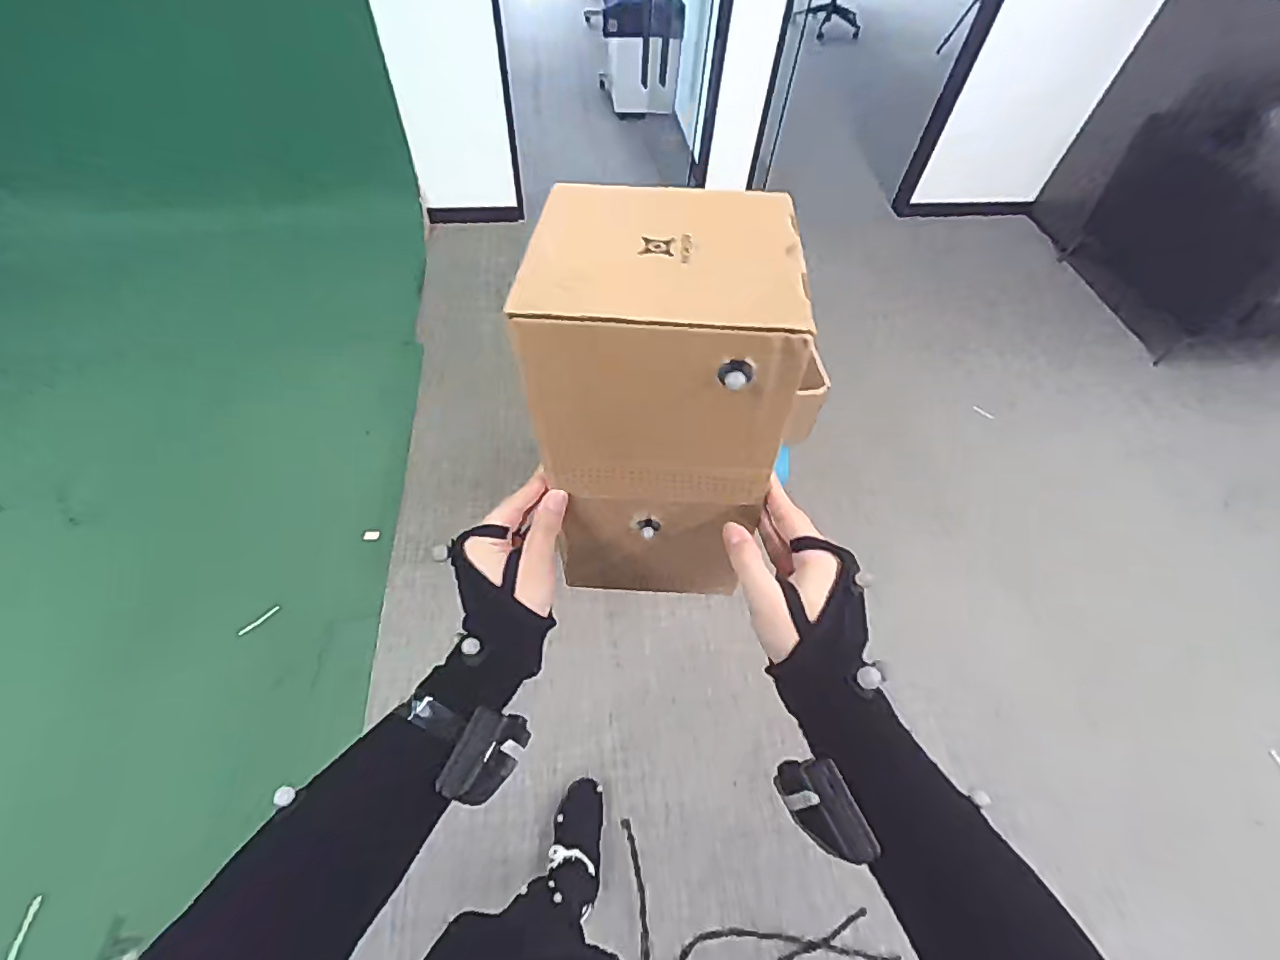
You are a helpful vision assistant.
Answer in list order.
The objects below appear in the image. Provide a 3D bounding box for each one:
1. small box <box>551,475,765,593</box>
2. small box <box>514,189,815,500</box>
[{"bbox_3d":[0.019,0.001,0.544,0.179,0.176,0.168,4,51,2],"label":"small box"},{"bbox_3d":[0.019,-0.100,0.417,0.179,0.176,0.168,5,51,2],"label":"small box"}]
